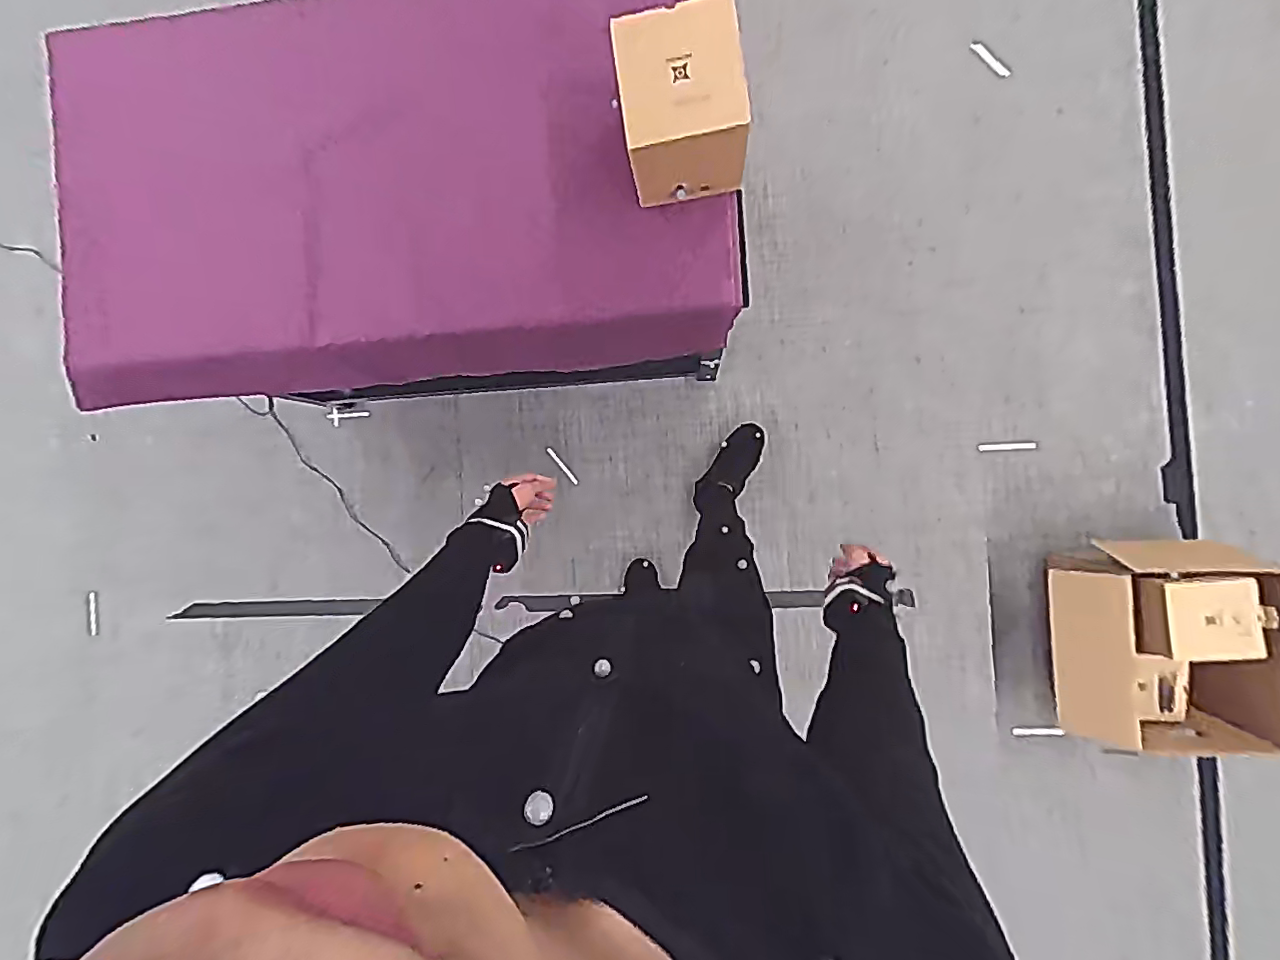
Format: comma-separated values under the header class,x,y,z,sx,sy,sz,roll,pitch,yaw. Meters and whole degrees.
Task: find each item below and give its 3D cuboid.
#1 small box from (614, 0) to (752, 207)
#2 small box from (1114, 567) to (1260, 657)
class,x,y,z,sx,sy,sz,roll,pitch,yaw
small box,0.063,-0.533,0.782,0.168,0.176,0.179,-8,89,7
small box,1.224,0.294,1.227,0.179,0.176,0.168,-4,91,6
